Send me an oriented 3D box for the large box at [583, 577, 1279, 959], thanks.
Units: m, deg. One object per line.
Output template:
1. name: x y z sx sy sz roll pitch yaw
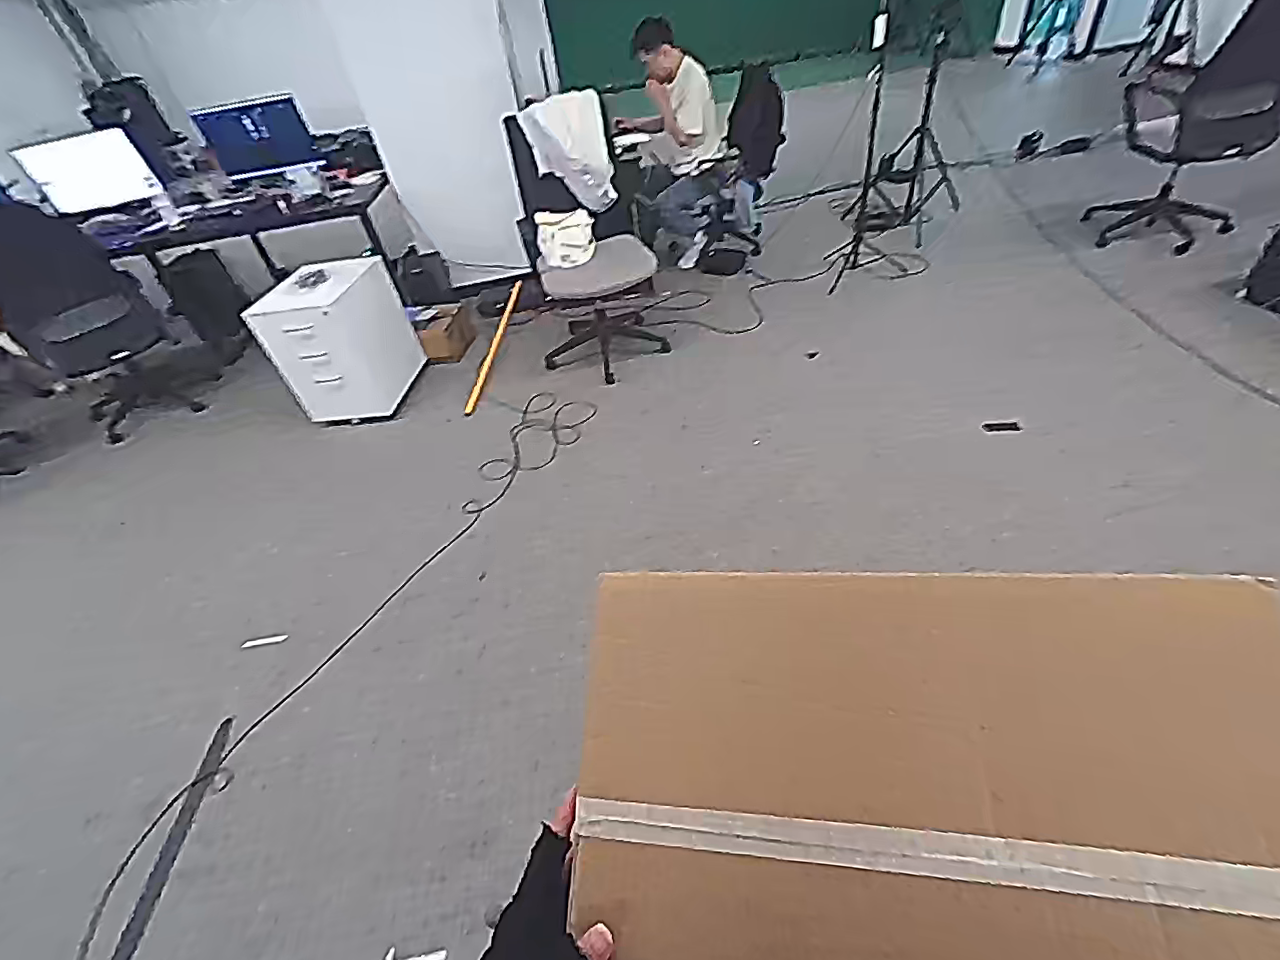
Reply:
1. large box: 0.196 0.268 0.437 0.408 0.320 0.320 -2 67 15
